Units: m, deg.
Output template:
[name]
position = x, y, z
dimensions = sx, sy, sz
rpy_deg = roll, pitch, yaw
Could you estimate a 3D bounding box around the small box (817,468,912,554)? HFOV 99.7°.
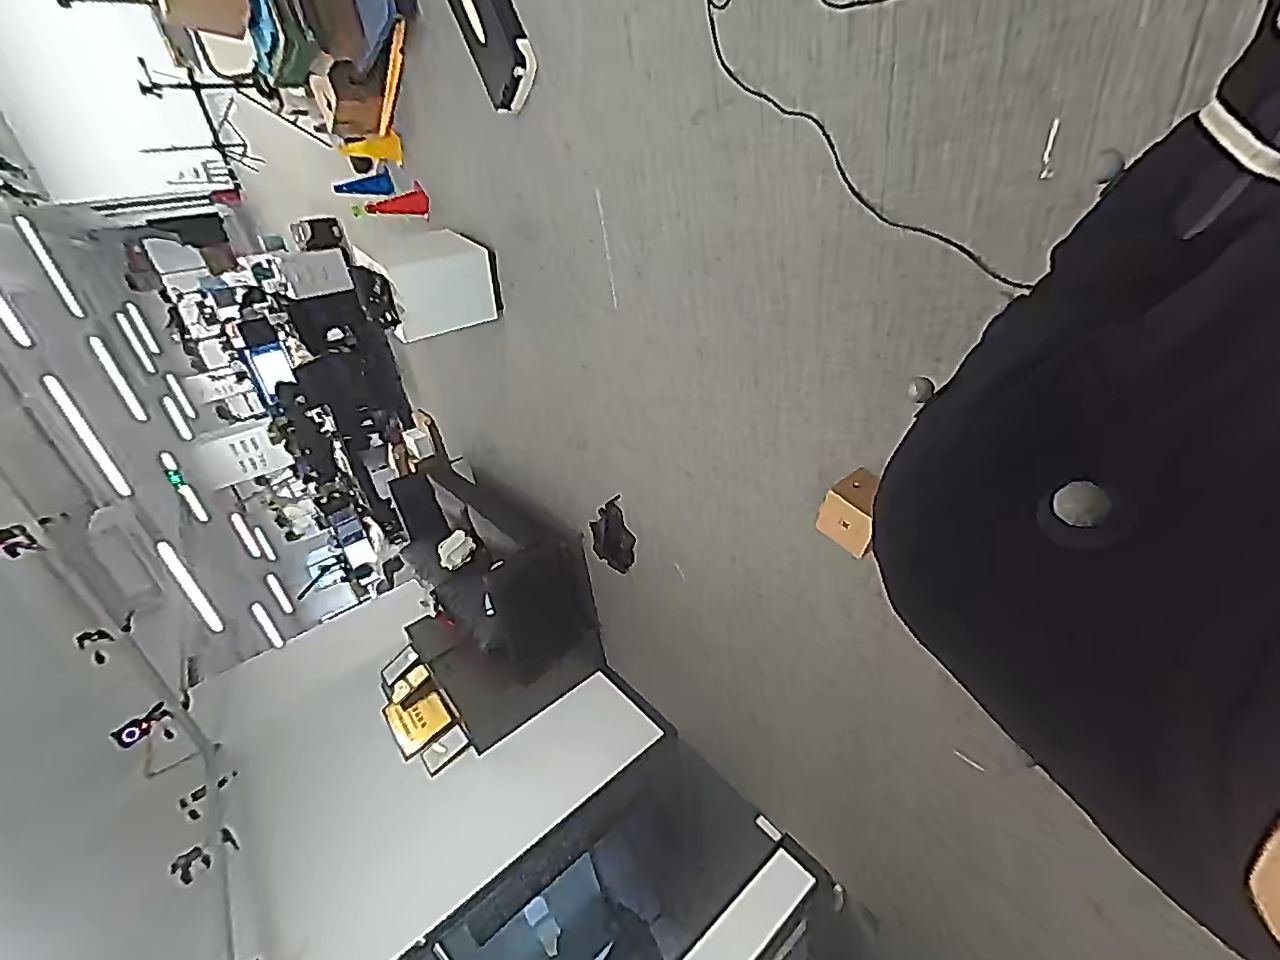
[small box]
position = 0.676, 0.085, 1.635
dimensions = 0.179, 0.176, 0.168
rpy_deg = 40, 143, 33
